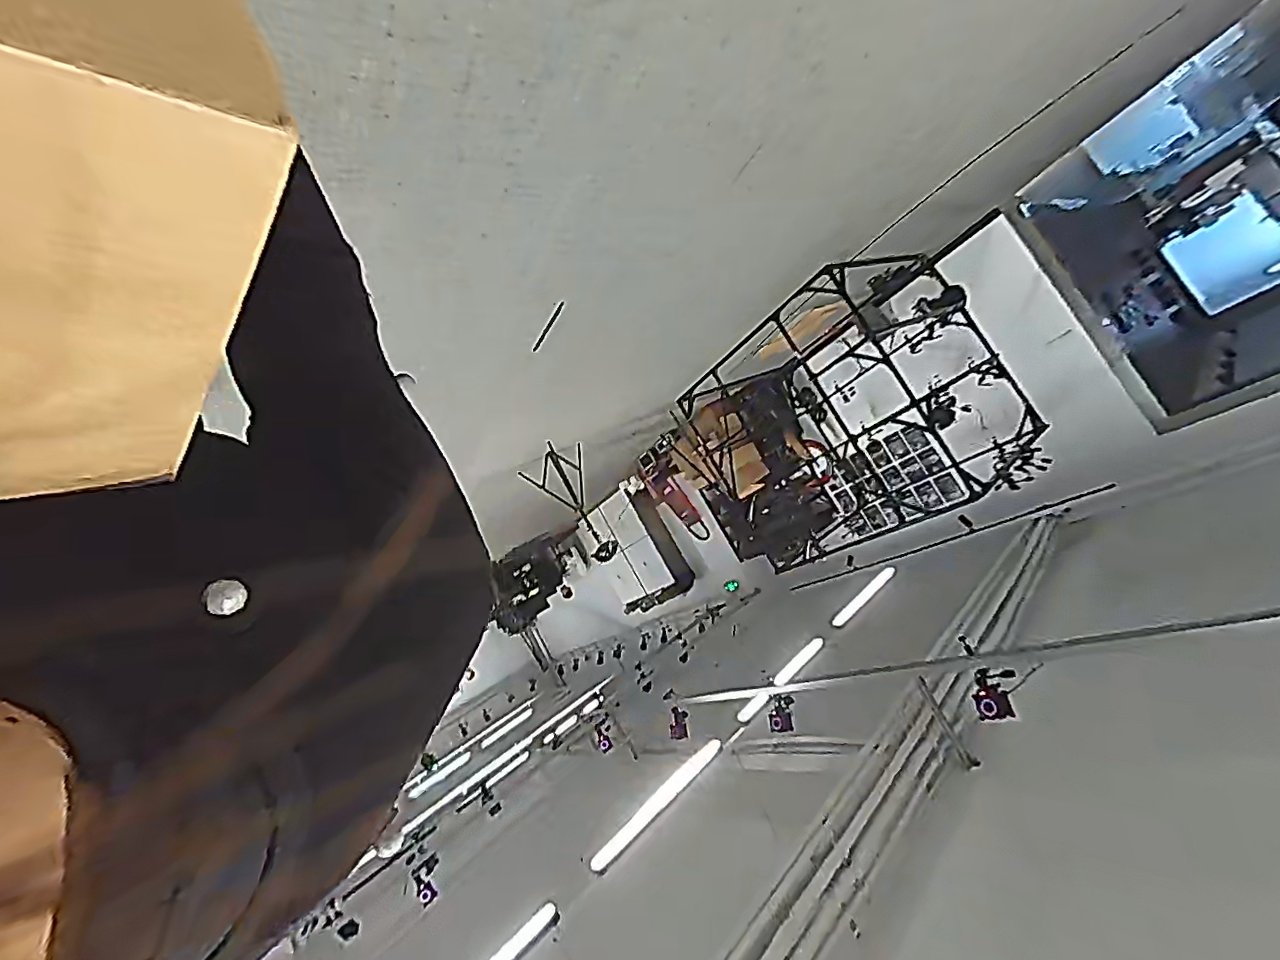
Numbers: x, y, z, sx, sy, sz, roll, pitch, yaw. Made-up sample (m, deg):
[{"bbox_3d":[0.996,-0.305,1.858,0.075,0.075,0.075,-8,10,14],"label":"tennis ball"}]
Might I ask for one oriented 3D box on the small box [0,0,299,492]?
[{"bbox_3d":[-0.207,-0.097,0.106,0.179,0.176,0.168,-30,171,38],"label":"small box"}]
